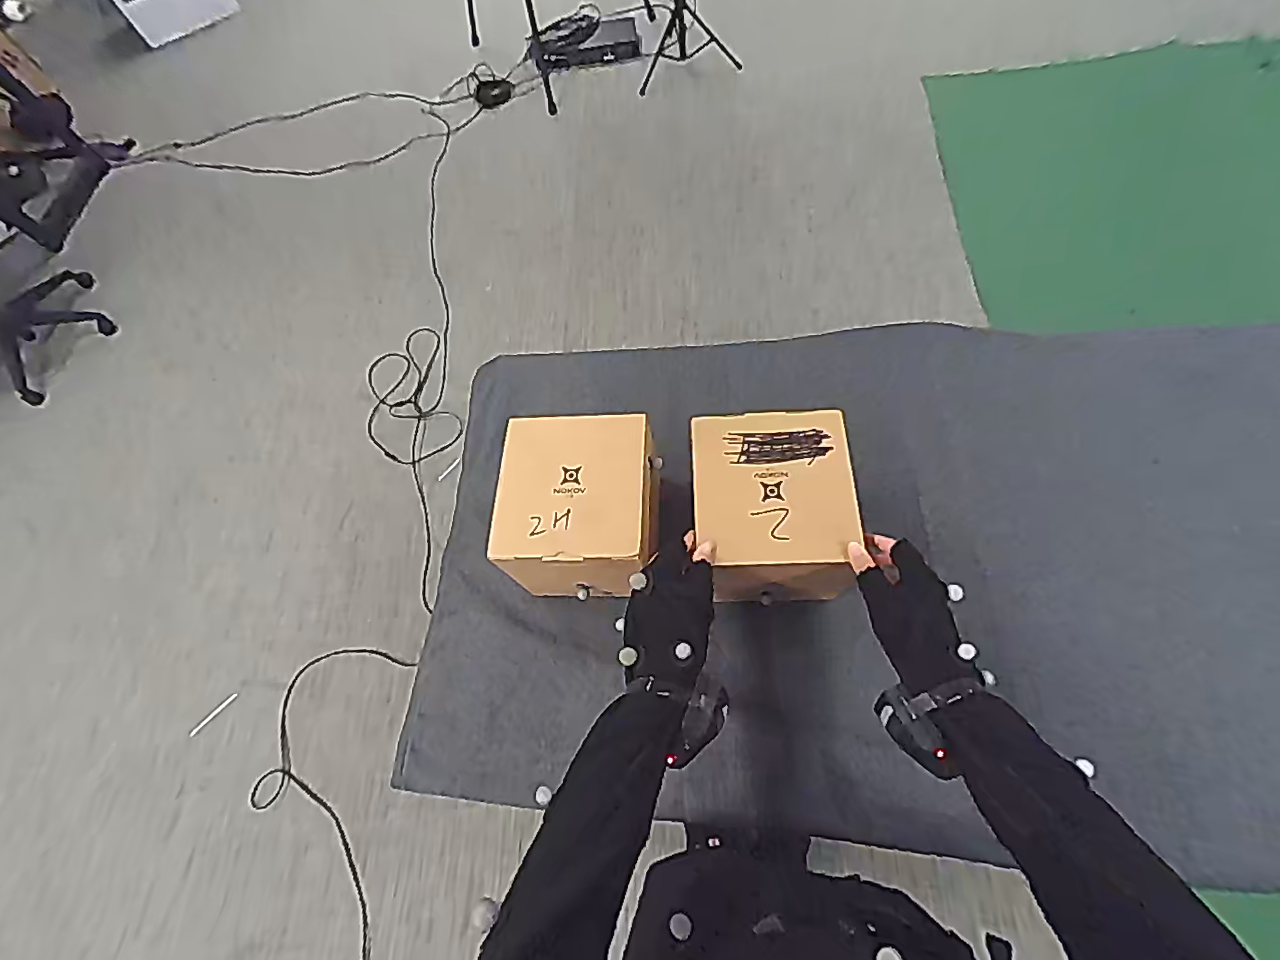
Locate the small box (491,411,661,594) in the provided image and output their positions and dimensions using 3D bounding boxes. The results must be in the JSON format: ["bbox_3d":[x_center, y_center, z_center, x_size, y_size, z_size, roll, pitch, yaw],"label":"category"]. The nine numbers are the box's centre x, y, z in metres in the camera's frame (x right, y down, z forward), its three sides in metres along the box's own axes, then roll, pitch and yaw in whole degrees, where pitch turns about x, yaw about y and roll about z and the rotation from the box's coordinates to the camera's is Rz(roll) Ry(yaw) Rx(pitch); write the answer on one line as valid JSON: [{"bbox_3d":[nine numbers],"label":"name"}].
[{"bbox_3d":[-0.065,0.033,0.670,0.168,0.176,0.179,-1,65,8],"label":"small box"}]
